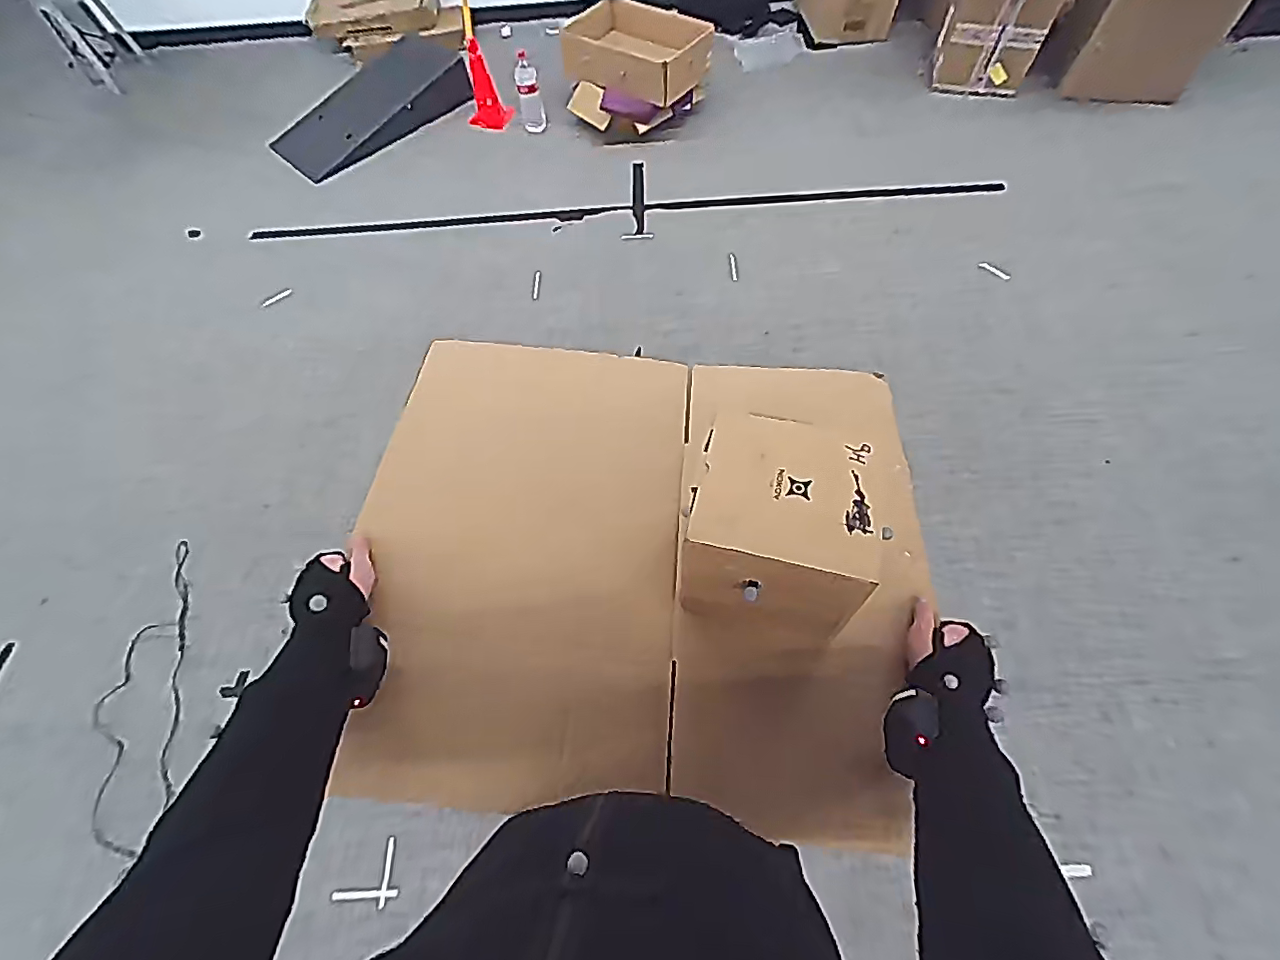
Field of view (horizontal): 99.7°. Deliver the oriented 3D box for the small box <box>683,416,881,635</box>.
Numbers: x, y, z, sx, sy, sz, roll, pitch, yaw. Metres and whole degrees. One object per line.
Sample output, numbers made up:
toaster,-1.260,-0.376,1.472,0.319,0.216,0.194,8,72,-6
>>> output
small box,0.150,0.055,0.597,0.179,0.176,0.168,11,58,11
